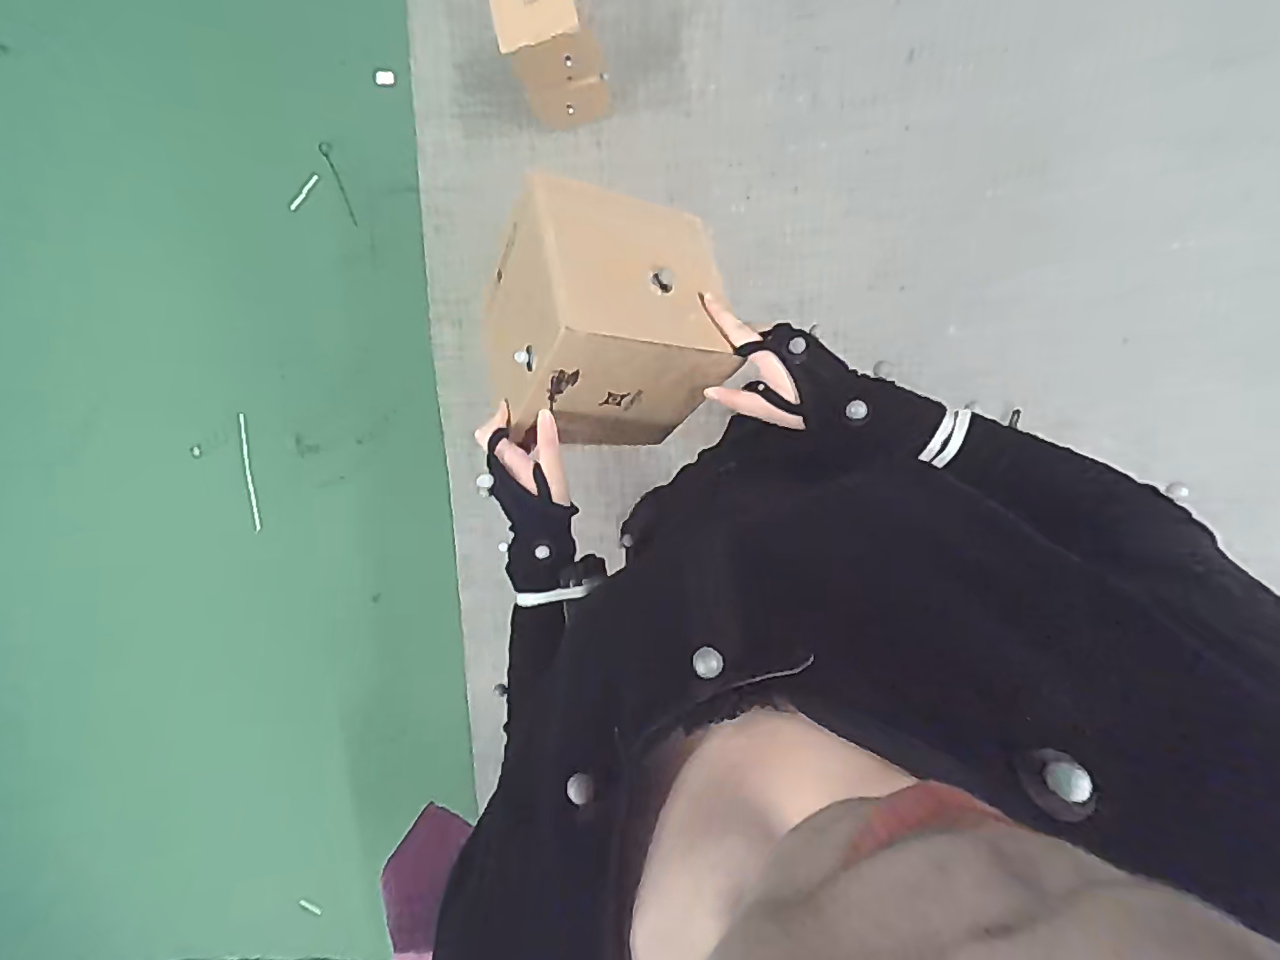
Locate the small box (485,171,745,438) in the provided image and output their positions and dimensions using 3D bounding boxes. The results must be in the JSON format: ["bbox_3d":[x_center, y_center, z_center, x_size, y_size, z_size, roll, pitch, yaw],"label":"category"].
[{"bbox_3d":[-0.035,-0.154,0.515,0.179,0.168,0.176,0,65,-31],"label":"small box"}]

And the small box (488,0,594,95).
[{"bbox_3d":[-0.204,-0.944,1.126,0.168,0.176,0.179,-10,97,9],"label":"small box"}]
